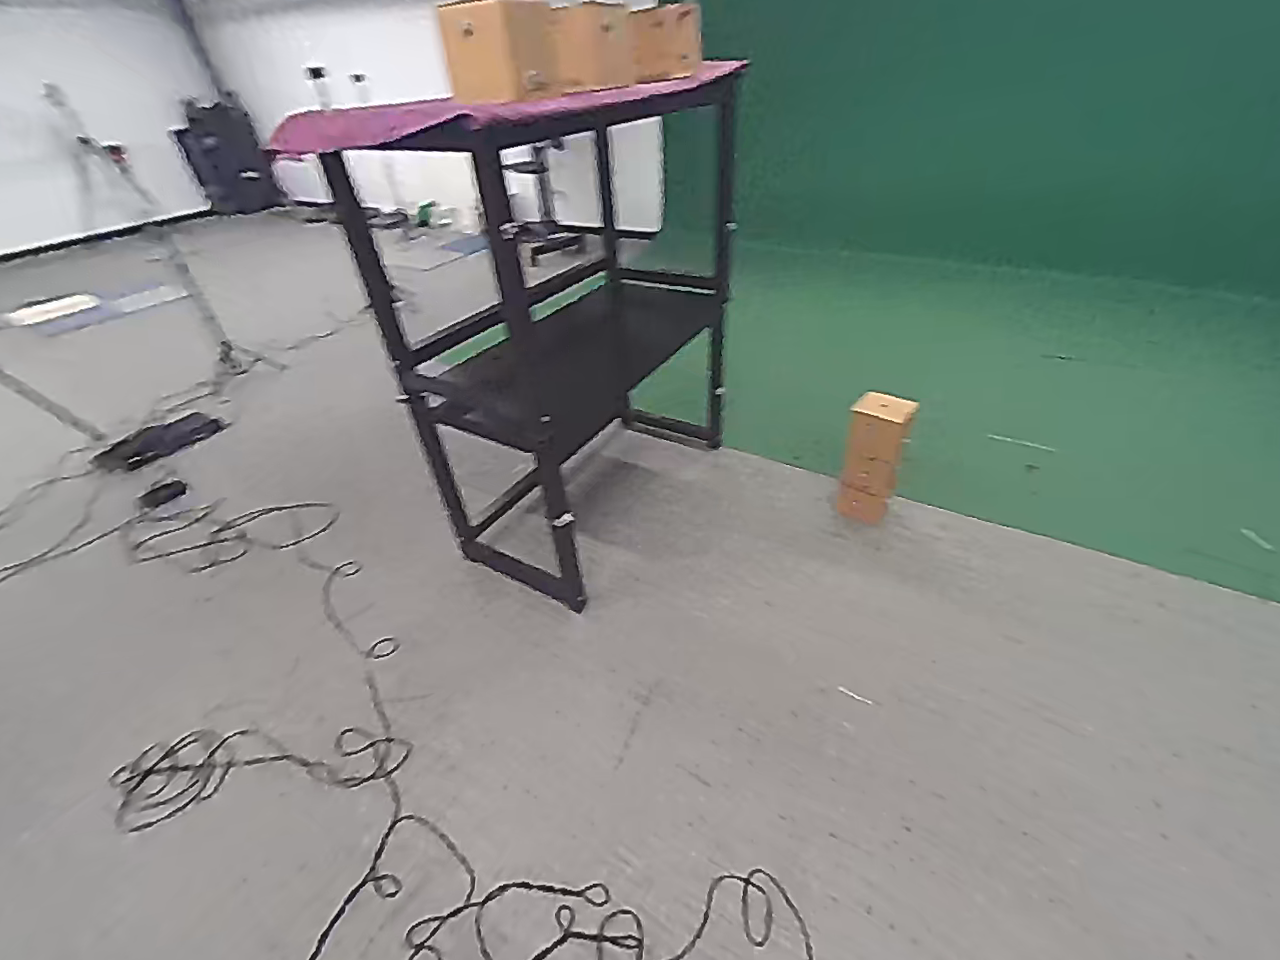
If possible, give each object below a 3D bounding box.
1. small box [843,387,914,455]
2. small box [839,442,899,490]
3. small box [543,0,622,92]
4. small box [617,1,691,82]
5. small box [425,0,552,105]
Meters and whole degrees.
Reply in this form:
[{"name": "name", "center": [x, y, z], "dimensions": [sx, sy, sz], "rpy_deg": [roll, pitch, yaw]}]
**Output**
[{"name": "small box", "center": [0.862, -0.212, 1.967], "dimensions": [0.179, 0.176, 0.168], "rpy_deg": [25, 47, 34]}, {"name": "small box", "center": [0.881, -0.088, 2.077], "dimensions": [0.168, 0.176, 0.179], "rpy_deg": [23, 46, 32]}, {"name": "small box", "center": [-0.157, -1.095, 1.371], "dimensions": [0.168, 0.176, 0.179], "rpy_deg": [17, 42, 28]}, {"name": "small box", "center": [0.036, -1.293, 1.601], "dimensions": [0.179, 0.176, 0.168], "rpy_deg": [18, 45, 30]}, {"name": "small box", "center": [-0.307, -0.891, 1.127], "dimensions": [0.179, 0.176, 0.168], "rpy_deg": [16, 43, 23]}]
